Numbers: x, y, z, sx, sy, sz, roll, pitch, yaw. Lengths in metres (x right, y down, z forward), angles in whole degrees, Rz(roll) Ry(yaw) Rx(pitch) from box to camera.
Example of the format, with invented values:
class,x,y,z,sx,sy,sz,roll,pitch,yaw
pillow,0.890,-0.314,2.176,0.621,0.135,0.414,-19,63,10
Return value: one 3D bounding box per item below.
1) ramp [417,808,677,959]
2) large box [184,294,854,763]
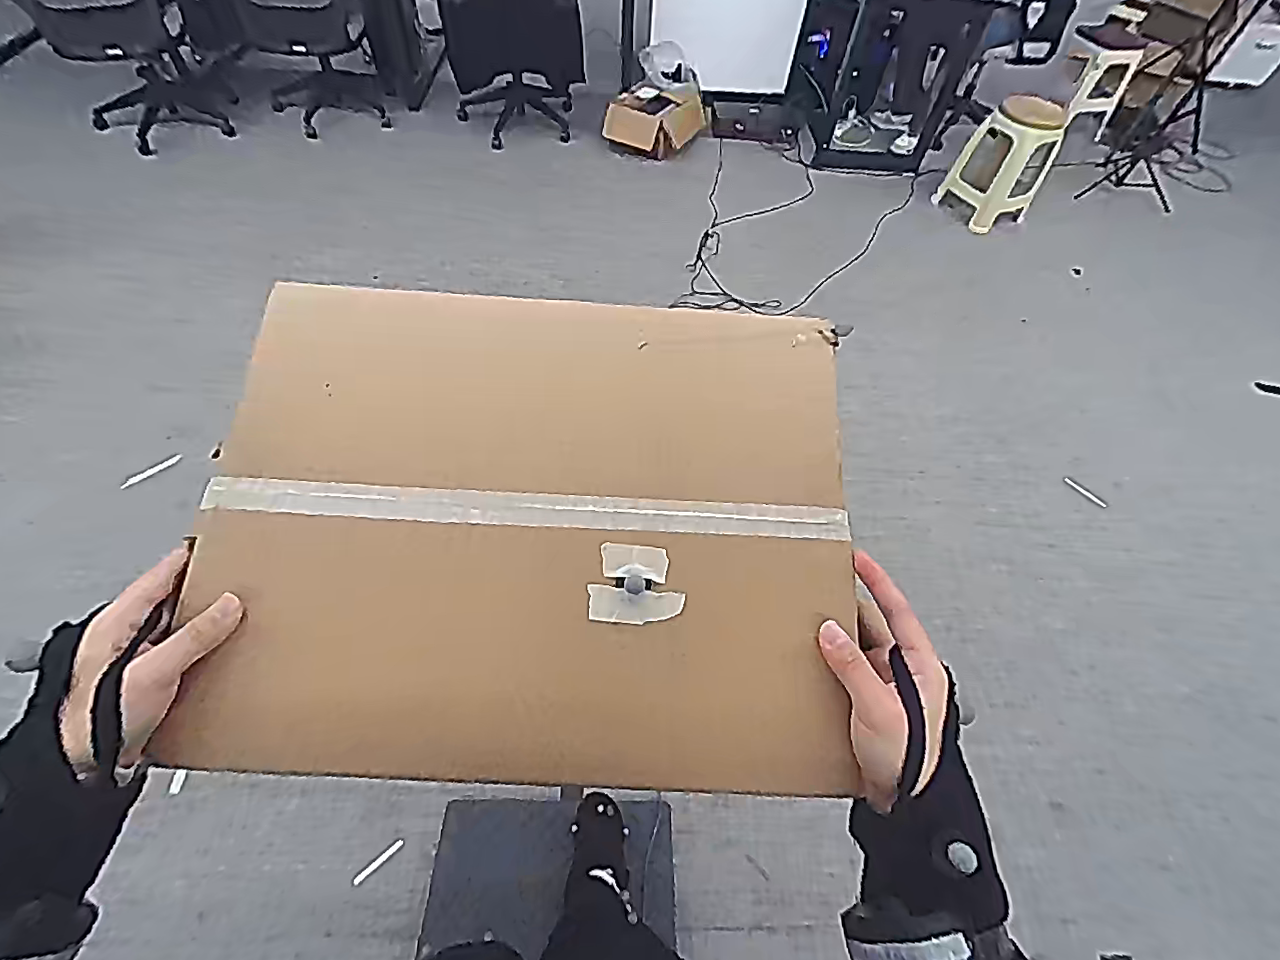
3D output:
class,x,y,z,sx,sy,sz,roll,pitch,yaw
ramp,-0.173,1.074,0.836,0.509,0.206,0.991,0,54,-2
large box,-0.070,0.060,0.505,0.408,0.320,0.320,4,73,-2
